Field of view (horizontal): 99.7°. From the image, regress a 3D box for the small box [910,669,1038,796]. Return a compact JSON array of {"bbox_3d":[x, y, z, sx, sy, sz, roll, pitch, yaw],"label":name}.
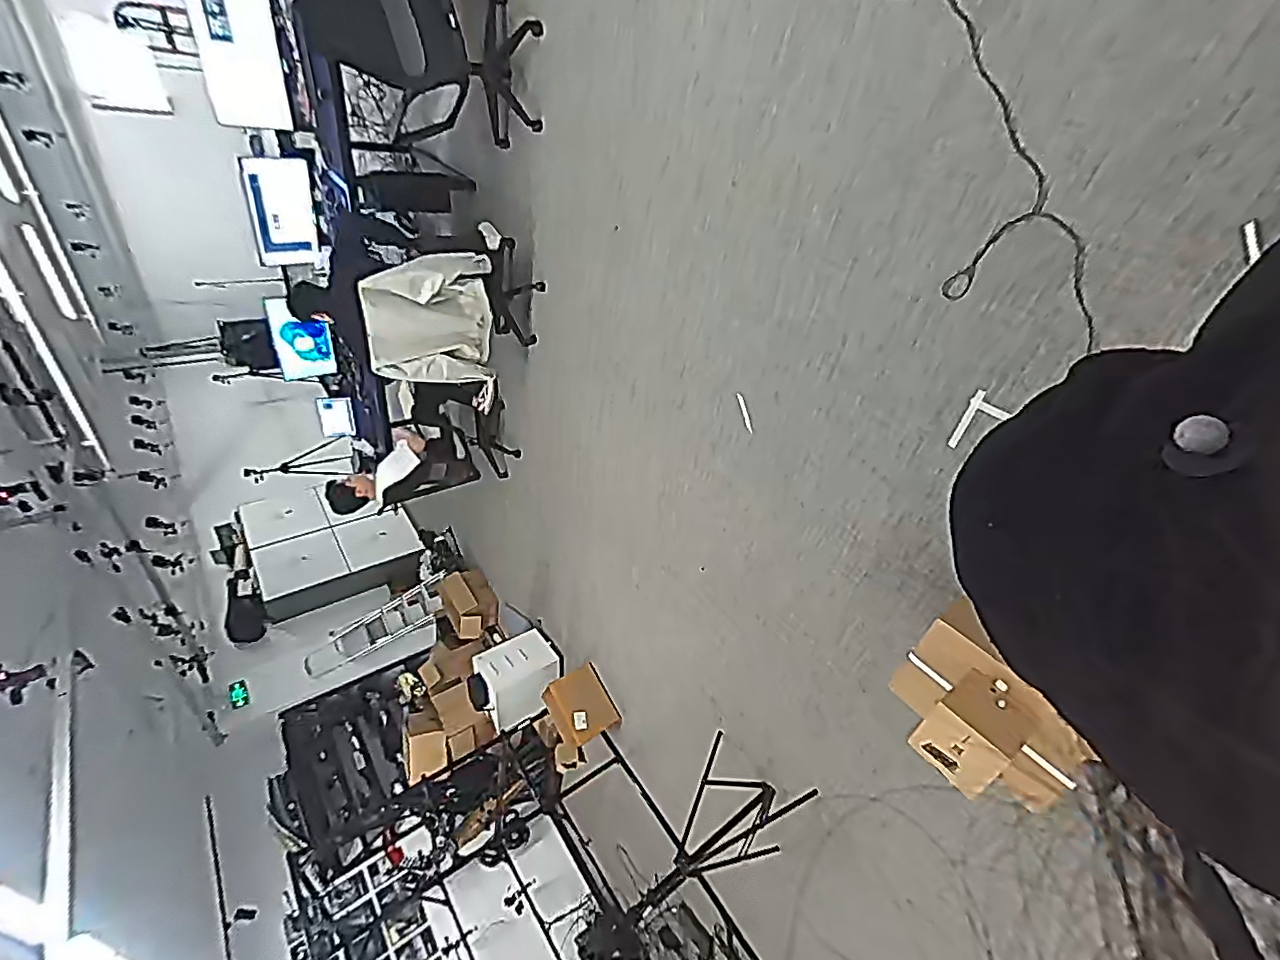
[{"bbox_3d":[0.775,0.579,1.255,0.168,0.176,0.179,42,136,36],"label":"small box"}]
